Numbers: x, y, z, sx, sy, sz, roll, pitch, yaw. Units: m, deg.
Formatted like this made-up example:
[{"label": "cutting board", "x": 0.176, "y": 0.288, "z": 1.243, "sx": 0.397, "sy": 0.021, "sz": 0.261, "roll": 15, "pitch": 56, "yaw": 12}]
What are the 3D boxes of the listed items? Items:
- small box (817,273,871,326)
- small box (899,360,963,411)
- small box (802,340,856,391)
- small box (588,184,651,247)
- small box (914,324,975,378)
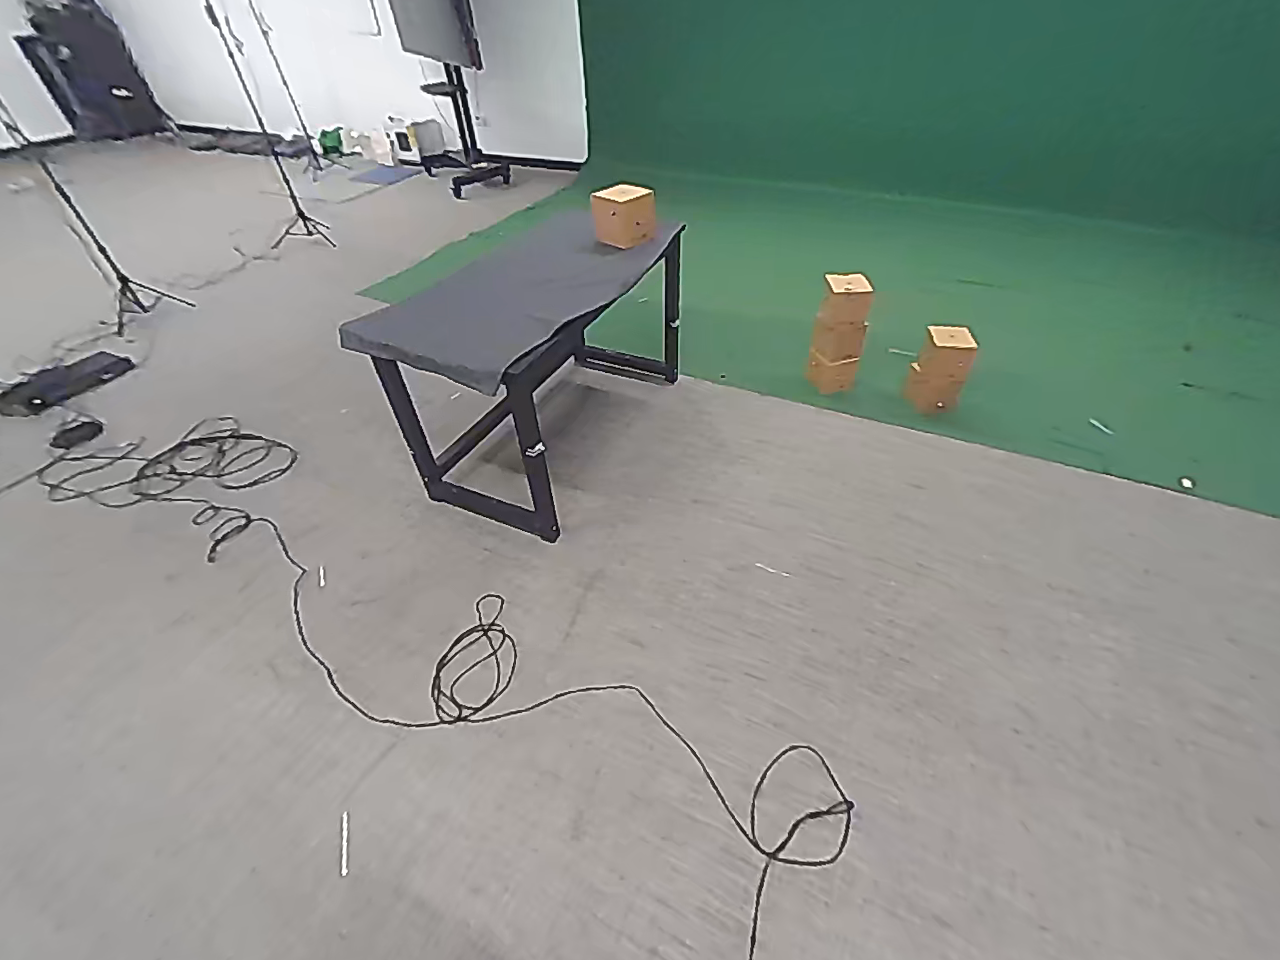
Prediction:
[{"label": "small box", "x": 0.889, "y": -0.793, "z": 2.373, "sx": 0.168, "sy": 0.176, "sz": 0.179, "roll": -1, "pitch": 44, "yaw": 2}, {"label": "small box", "x": 1.311, "y": -0.434, "z": 2.450, "sx": 0.168, "sy": 0.176, "sz": 0.179, "roll": -10, "pitch": 45, "yaw": -7}, {"label": "small box", "x": 0.900, "y": -0.541, "z": 2.585, "sx": 0.168, "sy": 0.176, "sz": 0.179, "roll": -15, "pitch": 44, "yaw": -12}, {"label": "small box", "x": -0.072, "y": -1.000, "z": 2.047, "sx": 0.168, "sy": 0.176, "sz": 0.179, "roll": -35, "pitch": 50, "yaw": -29}, {"label": "small box", "x": 1.313, "y": -0.556, "z": 2.342, "sx": 0.168, "sy": 0.176, "sz": 0.179, "roll": 5, "pitch": 43, "yaw": 6}]
